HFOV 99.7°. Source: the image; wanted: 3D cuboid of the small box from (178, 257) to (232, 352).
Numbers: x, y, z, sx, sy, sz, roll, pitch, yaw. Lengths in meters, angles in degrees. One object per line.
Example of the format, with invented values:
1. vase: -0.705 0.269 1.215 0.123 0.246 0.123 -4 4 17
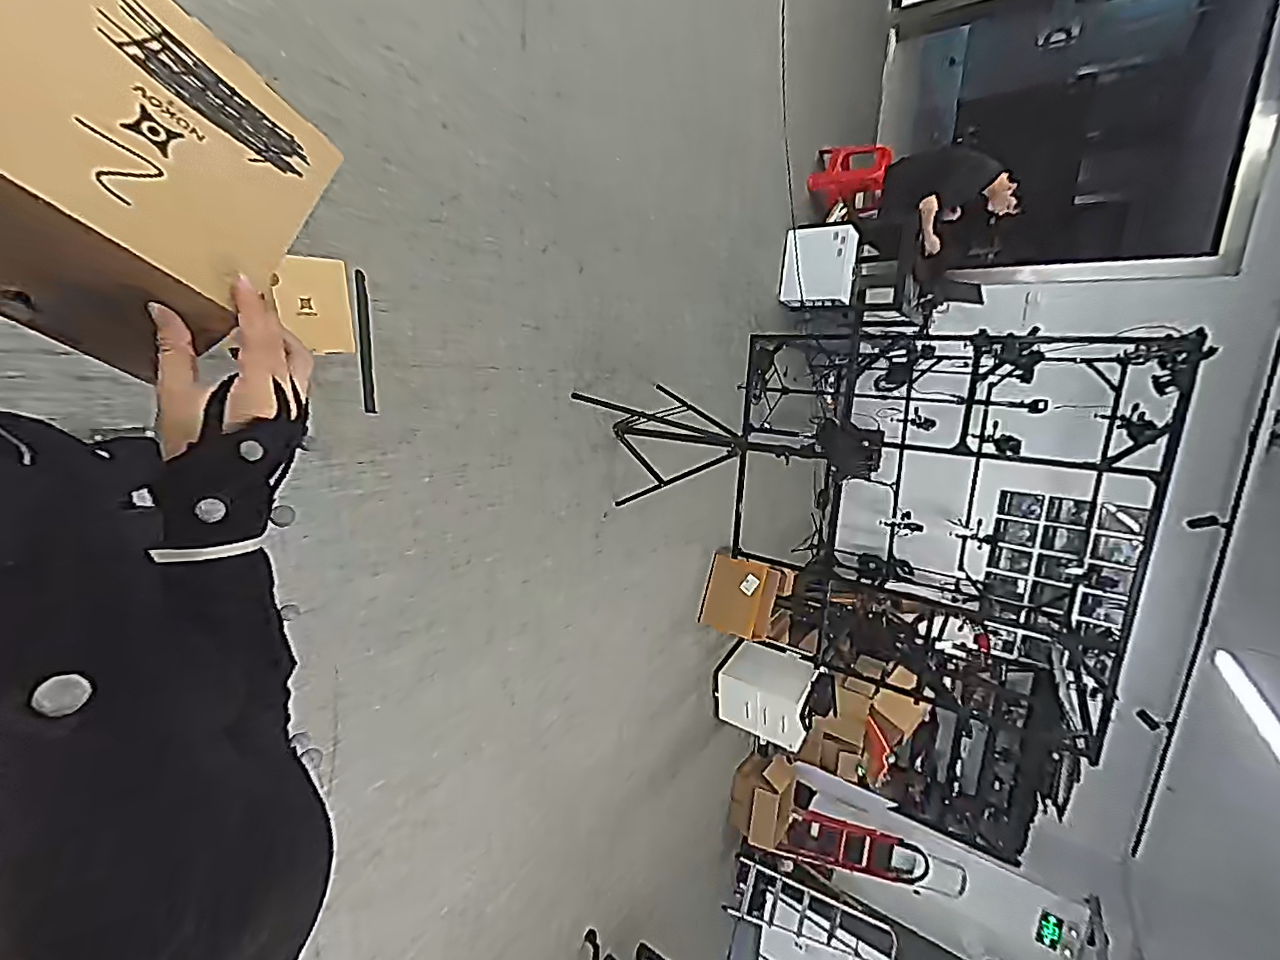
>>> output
1. small box: -0.822 -0.349 1.116 0.179 0.176 0.168 -10 107 -56

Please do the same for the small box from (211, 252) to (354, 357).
1. small box: -0.682 -0.328 1.034 0.168 0.176 0.179 -22 117 -53
